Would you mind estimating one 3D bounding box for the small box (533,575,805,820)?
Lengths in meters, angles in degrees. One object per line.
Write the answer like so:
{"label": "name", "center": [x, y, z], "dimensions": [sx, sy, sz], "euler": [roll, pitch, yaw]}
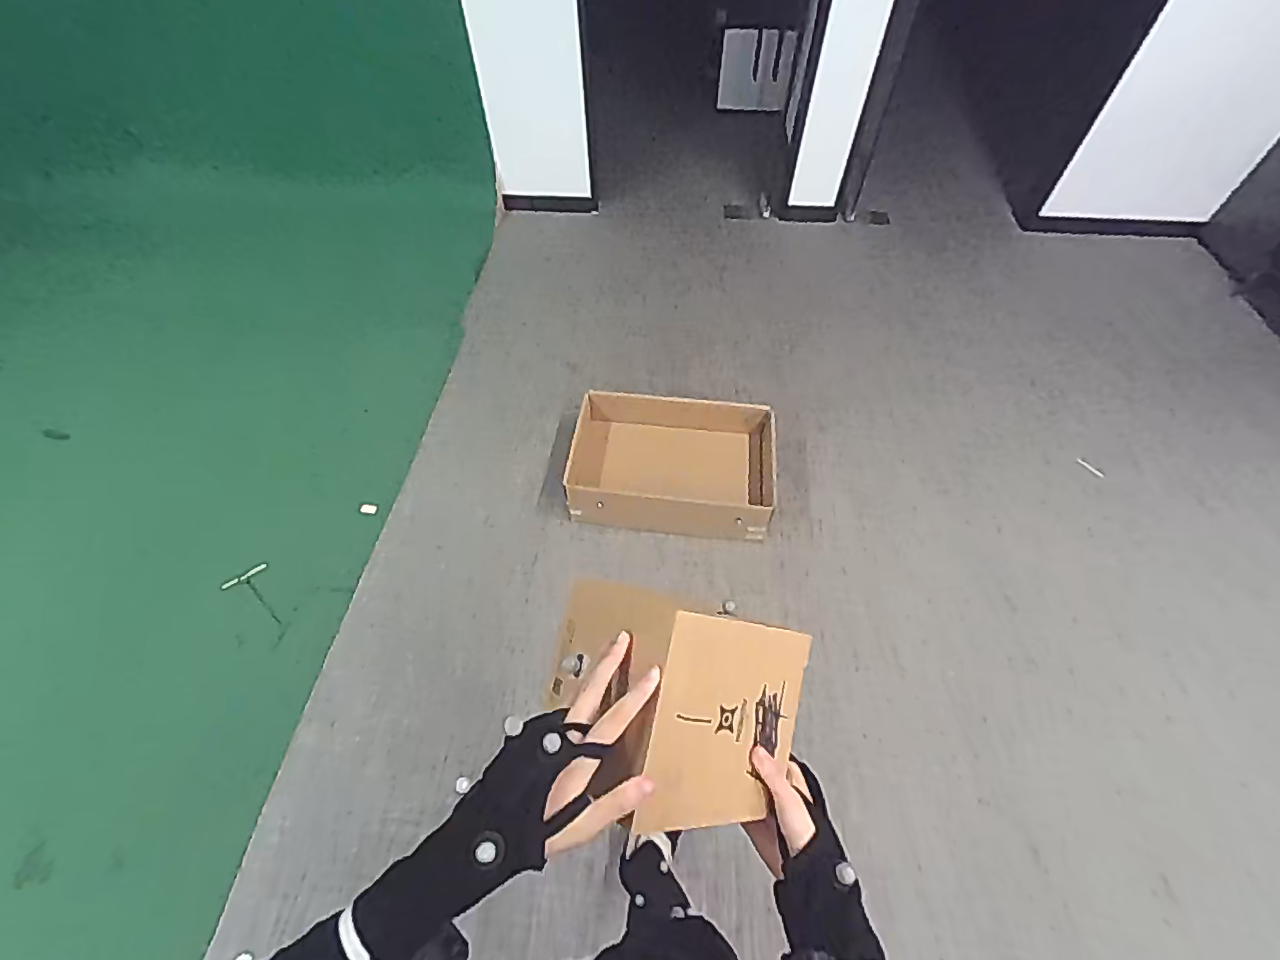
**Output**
{"label": "small box", "center": [0.024, 0.194, 0.520], "dimensions": [0.179, 0.176, 0.168], "euler": [19, 79, -33]}
